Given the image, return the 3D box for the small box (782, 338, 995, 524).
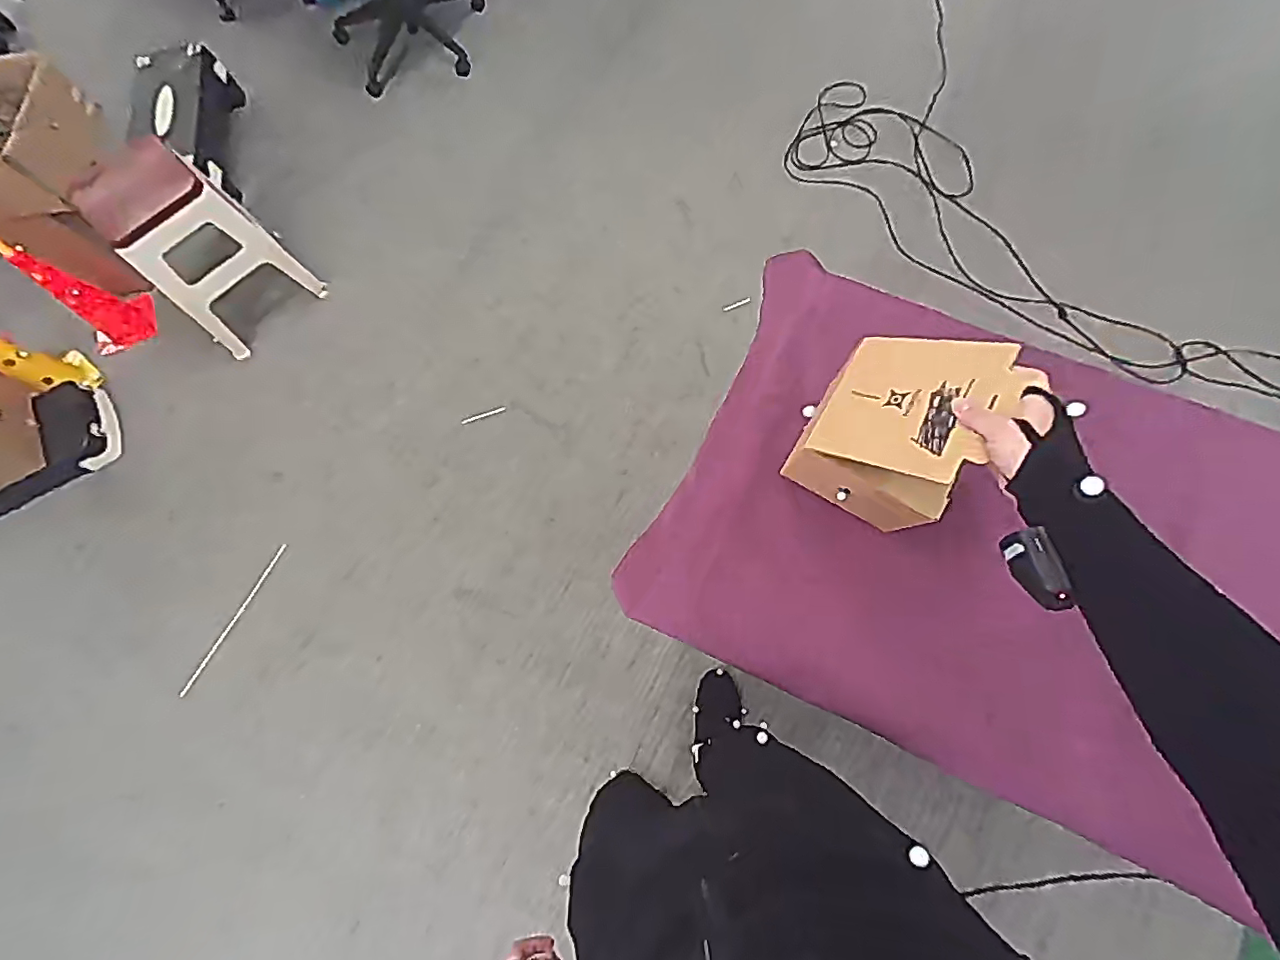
[{"bbox_3d":[0.313,-0.052,0.718,0.179,0.176,0.168,28,83,10],"label":"small box"}]
